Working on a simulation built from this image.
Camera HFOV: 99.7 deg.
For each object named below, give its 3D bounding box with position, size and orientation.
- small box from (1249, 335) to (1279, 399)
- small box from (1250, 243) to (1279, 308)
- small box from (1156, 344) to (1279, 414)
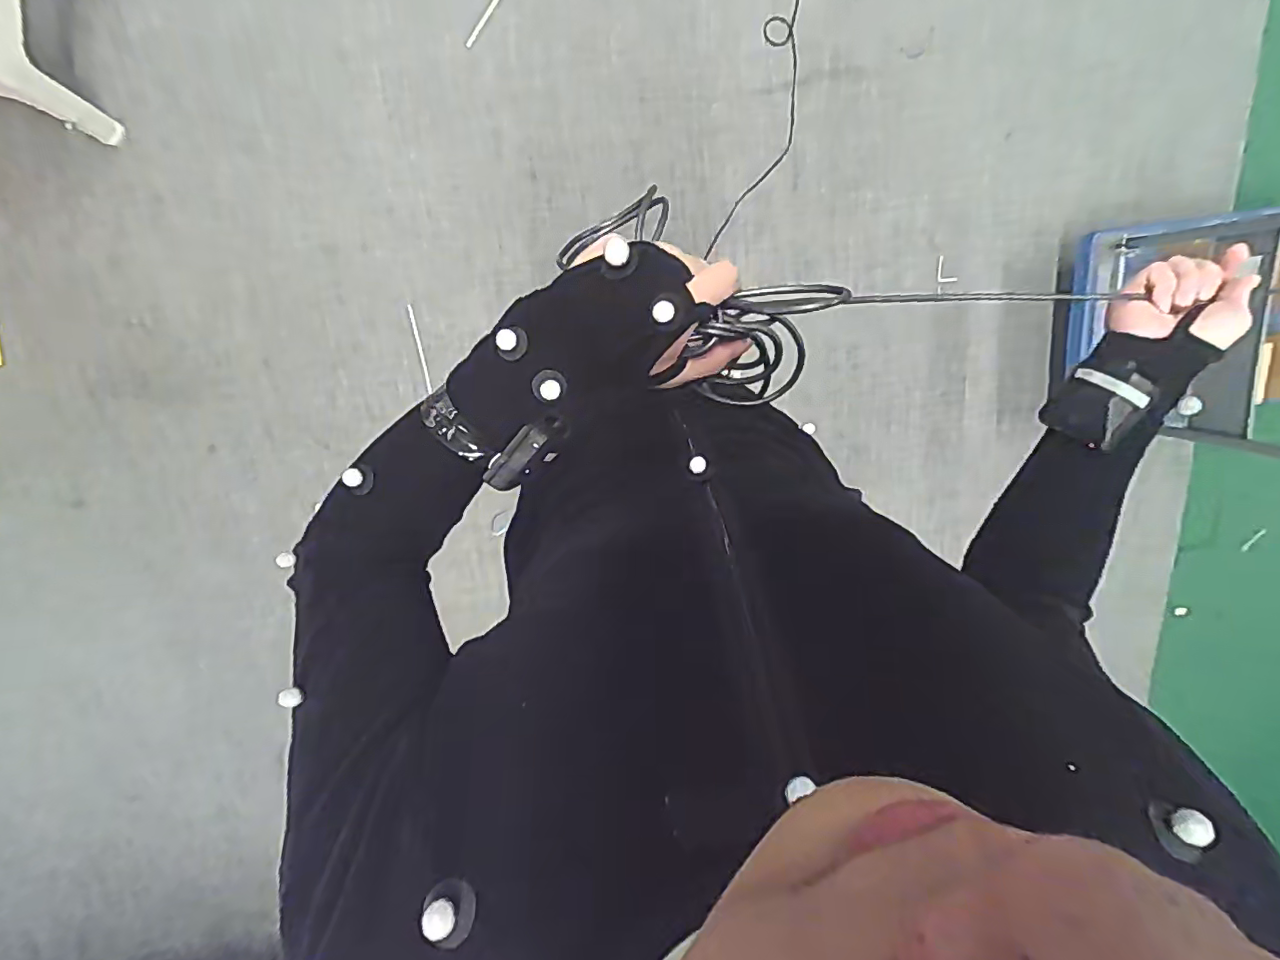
[{"bbox_3d":[1.870,-0.326,1.520,0.179,0.176,0.168,-12,104,-3],"label":"small box"},{"bbox_3d":[1.819,-0.564,1.454,0.179,0.176,0.168,-13,106,-4],"label":"small box"},{"bbox_3d":[1.604,-0.284,1.498,0.179,0.176,0.168,-8,105,-4],"label":"small box"}]
